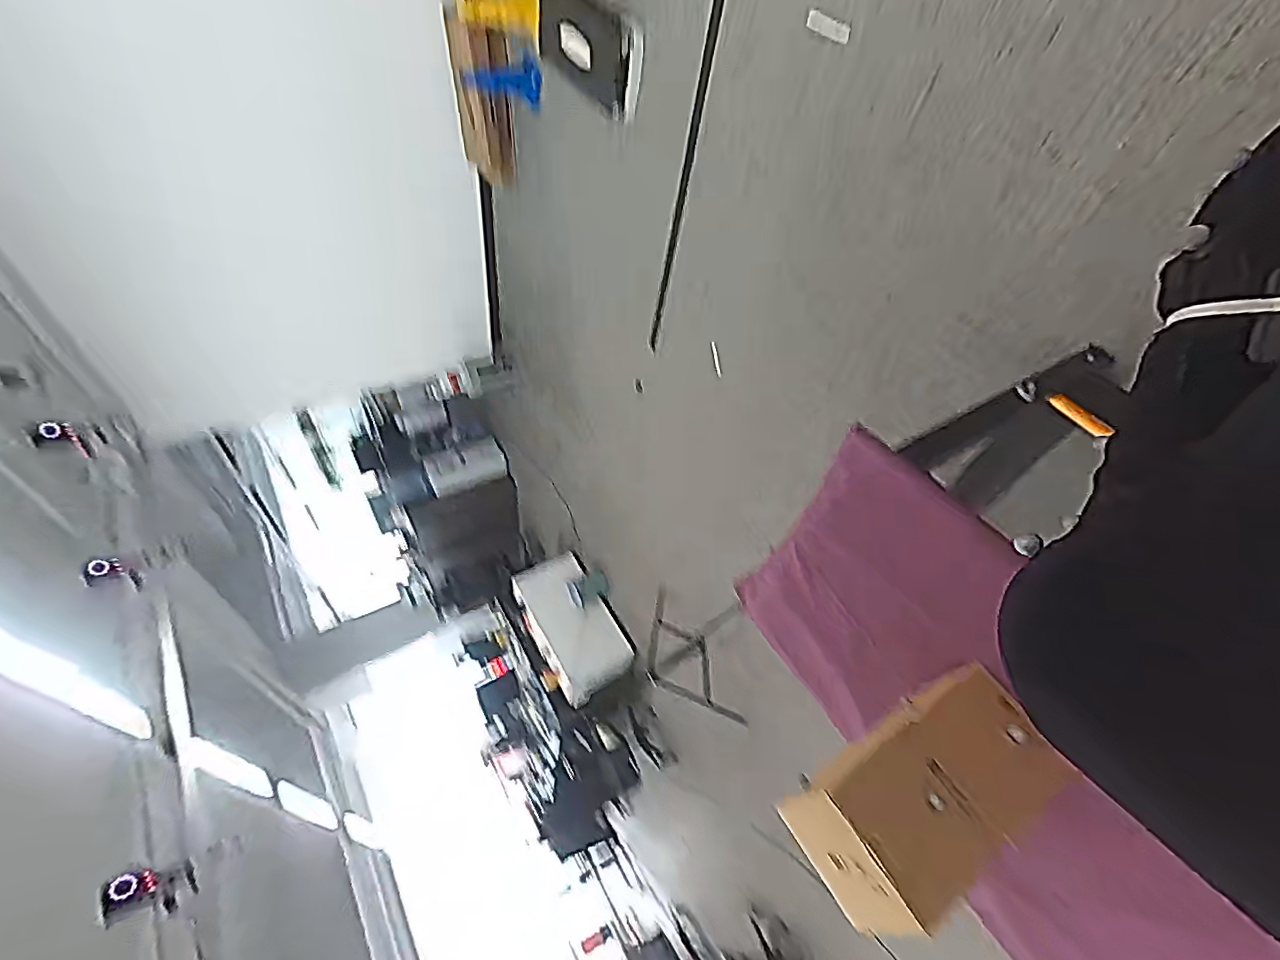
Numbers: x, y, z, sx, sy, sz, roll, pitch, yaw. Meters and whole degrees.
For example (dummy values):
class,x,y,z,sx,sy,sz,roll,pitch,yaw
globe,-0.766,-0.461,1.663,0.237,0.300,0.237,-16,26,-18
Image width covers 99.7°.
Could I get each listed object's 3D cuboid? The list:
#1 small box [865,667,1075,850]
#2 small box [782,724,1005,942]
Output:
class,x,y,z,sx,sy,sz,roll,pitch,yaw
small box,0.468,0.404,0.785,0.168,0.176,0.179,53,150,27
small box,0.328,0.458,0.716,0.168,0.176,0.179,53,150,26
